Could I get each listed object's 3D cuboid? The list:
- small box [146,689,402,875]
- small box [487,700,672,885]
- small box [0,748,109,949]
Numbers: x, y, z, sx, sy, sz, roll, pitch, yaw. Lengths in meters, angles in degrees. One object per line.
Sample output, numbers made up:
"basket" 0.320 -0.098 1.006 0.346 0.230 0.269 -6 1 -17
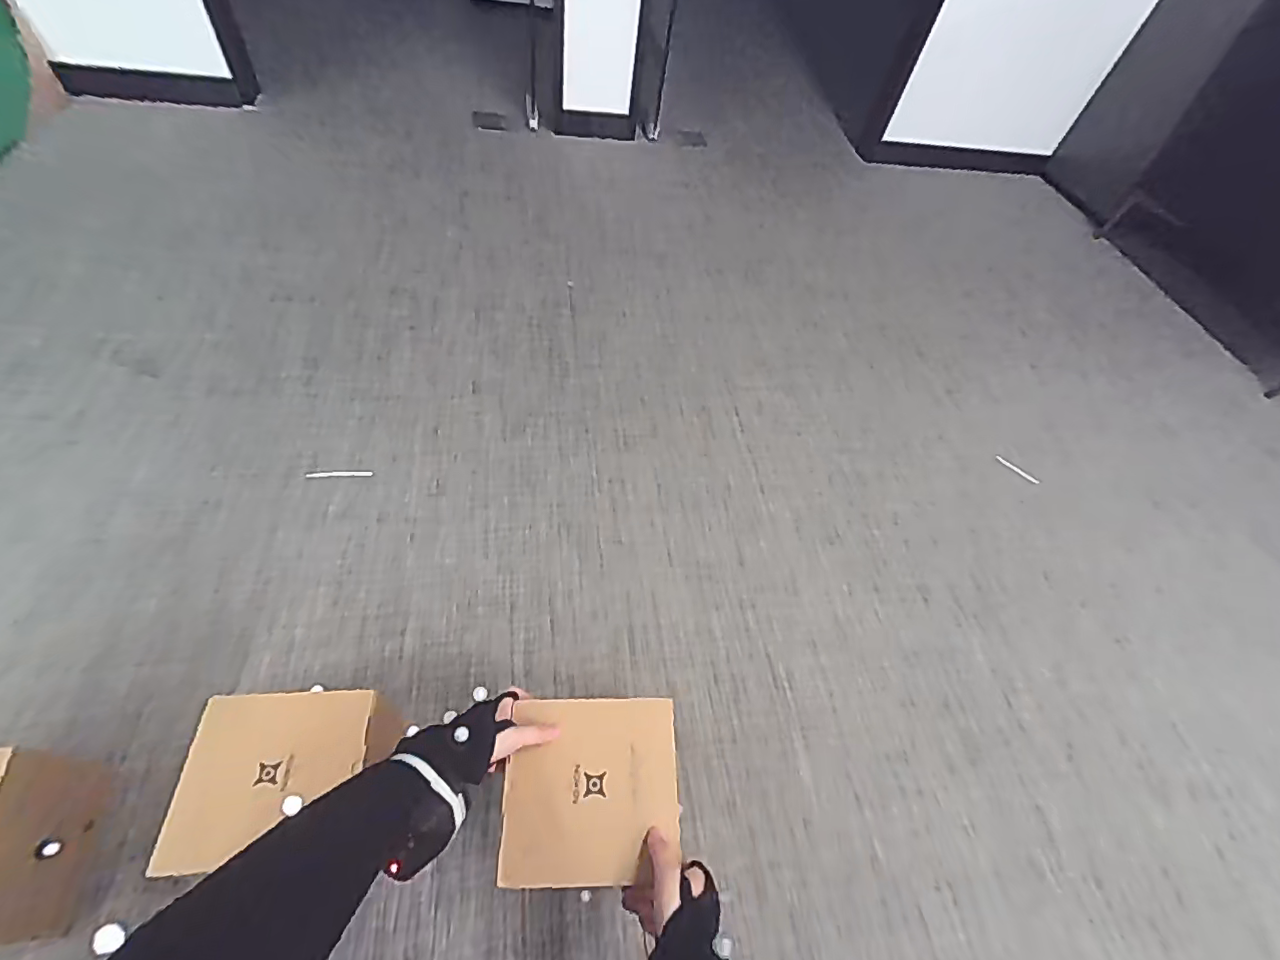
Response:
"small box" -0.400 0.355 0.633 0.179 0.176 0.168 2 54 -10
"small box" -0.058 0.354 0.612 0.179 0.176 0.168 1 56 -2
"small box" -0.713 0.387 0.551 0.179 0.176 0.168 -4 55 -13
